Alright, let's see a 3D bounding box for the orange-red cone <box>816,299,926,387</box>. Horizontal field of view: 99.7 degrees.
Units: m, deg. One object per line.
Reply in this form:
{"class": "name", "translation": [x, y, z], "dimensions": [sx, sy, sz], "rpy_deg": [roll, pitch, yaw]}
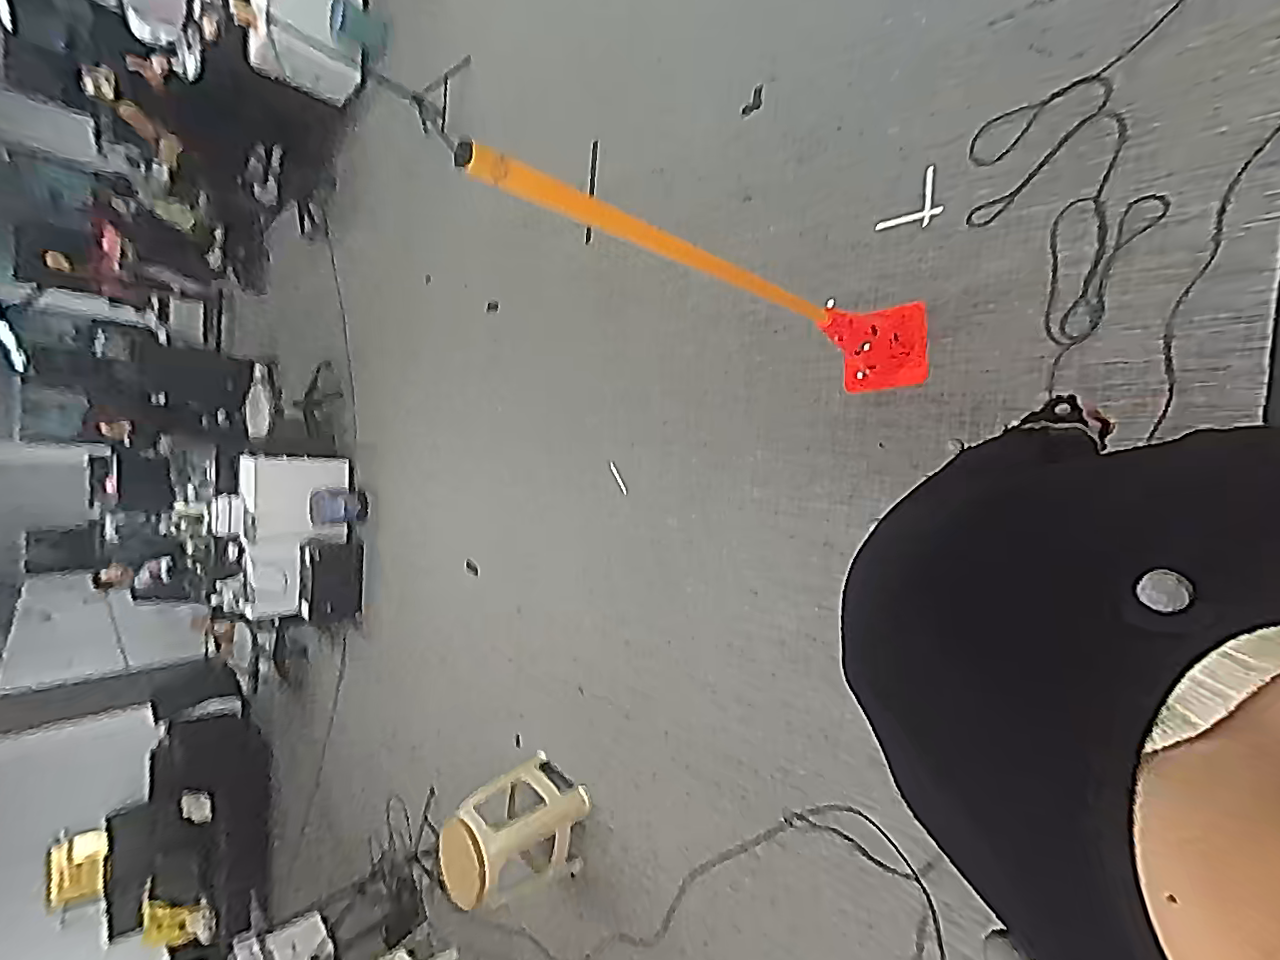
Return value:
{"class": "orange-red cone", "translation": [0.493, -0.338, 1.222], "dimensions": [0.199, 0.360, 0.198], "rpy_deg": [-1, 90, 42]}
